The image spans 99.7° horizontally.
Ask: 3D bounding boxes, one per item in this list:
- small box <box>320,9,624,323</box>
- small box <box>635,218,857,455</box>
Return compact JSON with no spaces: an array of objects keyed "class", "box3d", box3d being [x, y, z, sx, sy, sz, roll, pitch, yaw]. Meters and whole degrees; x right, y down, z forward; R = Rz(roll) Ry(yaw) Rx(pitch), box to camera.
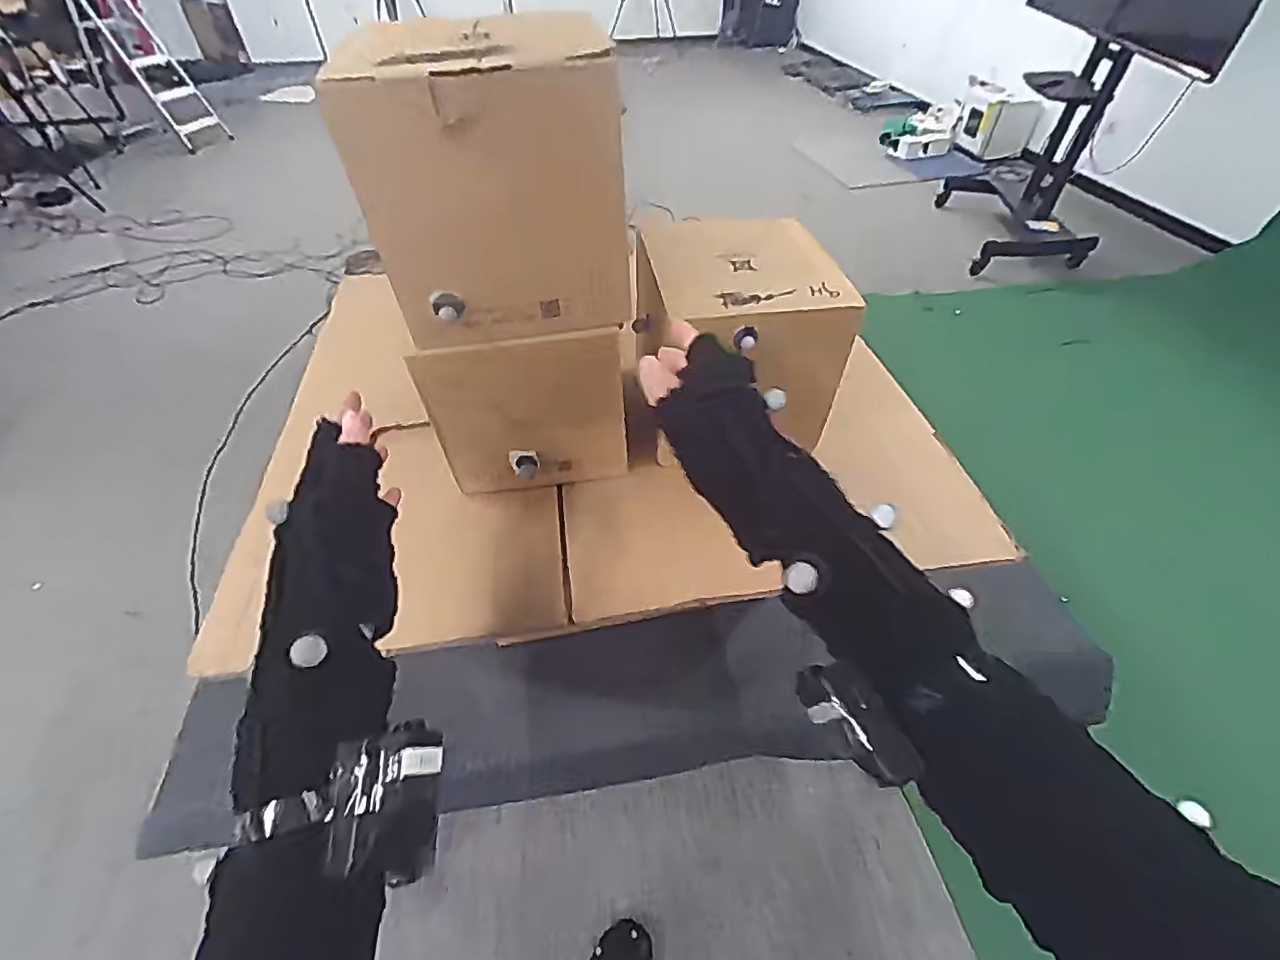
[{"class":"small box","box3d":[-0.107,-0.235,0.417,0.168,0.176,0.179,-8,47,-5]},{"class":"small box","box3d":[0.086,-0.147,0.552,0.168,0.176,0.179,-6,47,-6]}]
